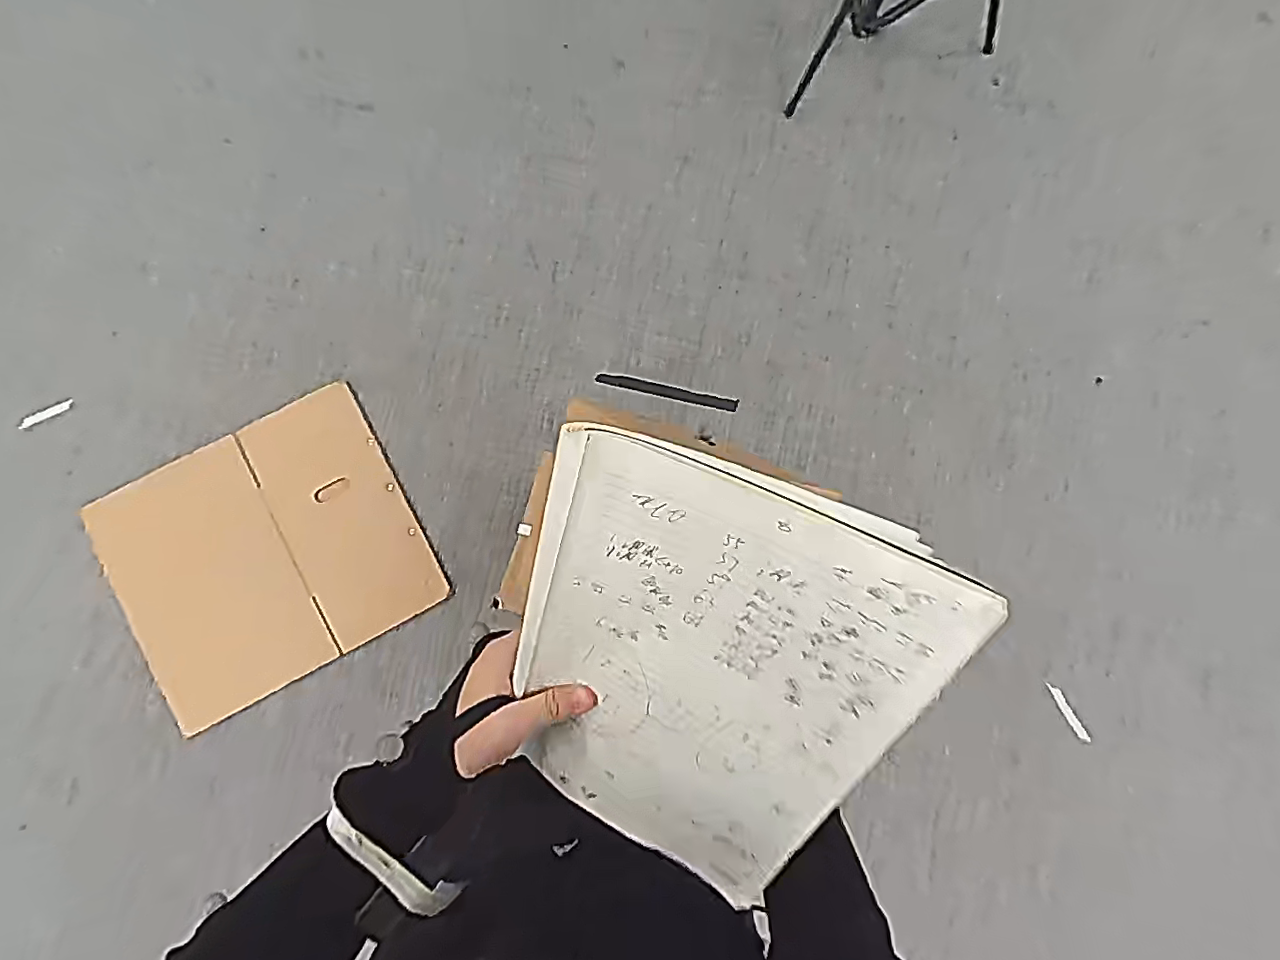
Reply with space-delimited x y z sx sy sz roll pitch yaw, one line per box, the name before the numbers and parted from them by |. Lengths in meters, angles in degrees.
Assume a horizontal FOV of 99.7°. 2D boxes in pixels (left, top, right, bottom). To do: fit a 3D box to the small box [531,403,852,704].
small box | 0.028 0.049 0.438 0.168 0.176 0.179 11 104 -33
